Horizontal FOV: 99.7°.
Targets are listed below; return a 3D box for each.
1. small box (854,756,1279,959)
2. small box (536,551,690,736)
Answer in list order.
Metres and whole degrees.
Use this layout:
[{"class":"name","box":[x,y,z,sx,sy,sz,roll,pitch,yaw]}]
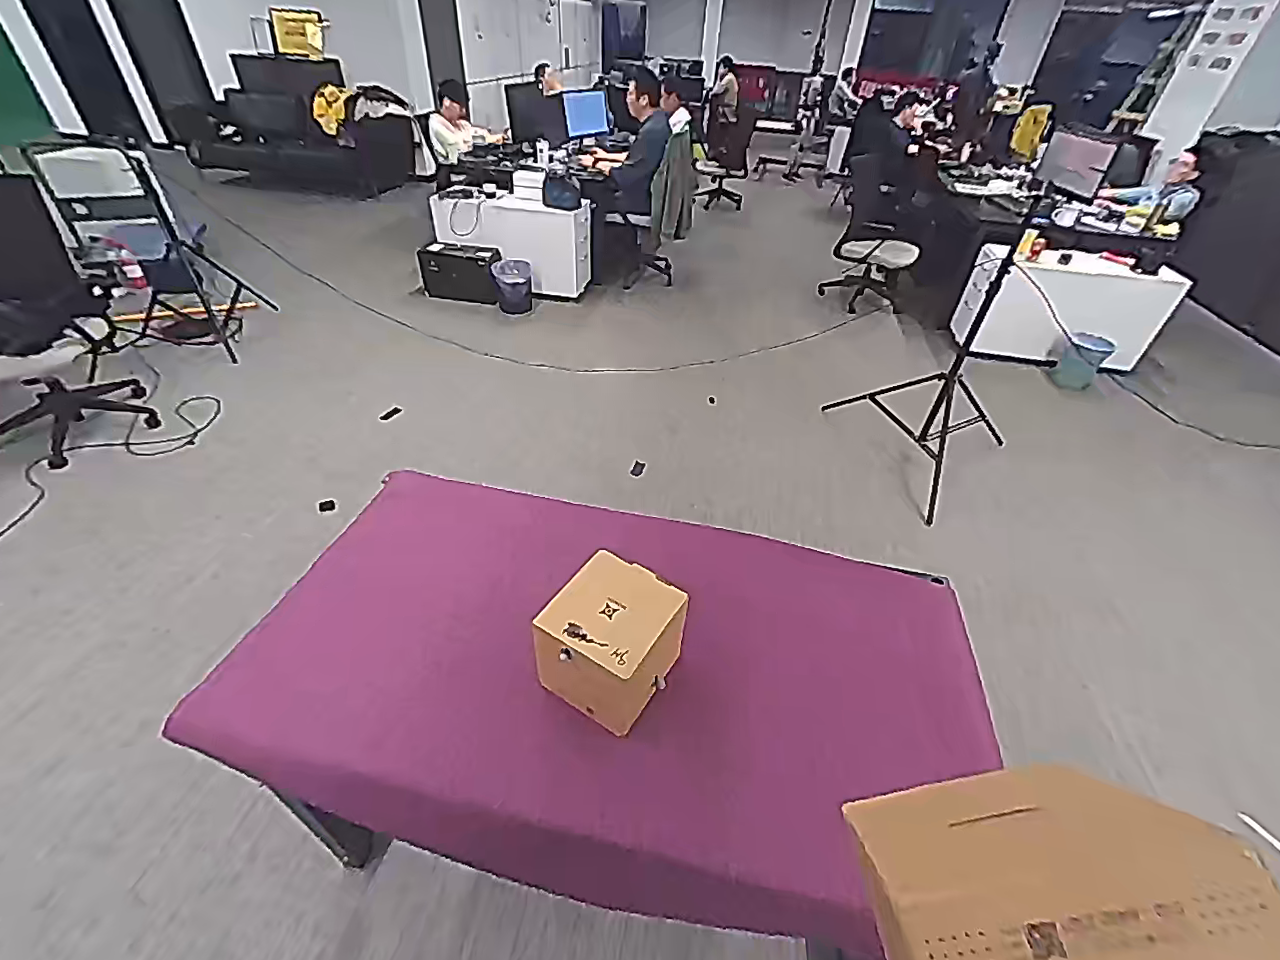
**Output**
[{"class":"small box","box":[0.240,0.276,0.306,0.168,0.179,0.176,-15,71,7]},{"class":"small box","box":[-0.043,0.251,0.839,0.168,0.176,0.179,24,43,23]}]
